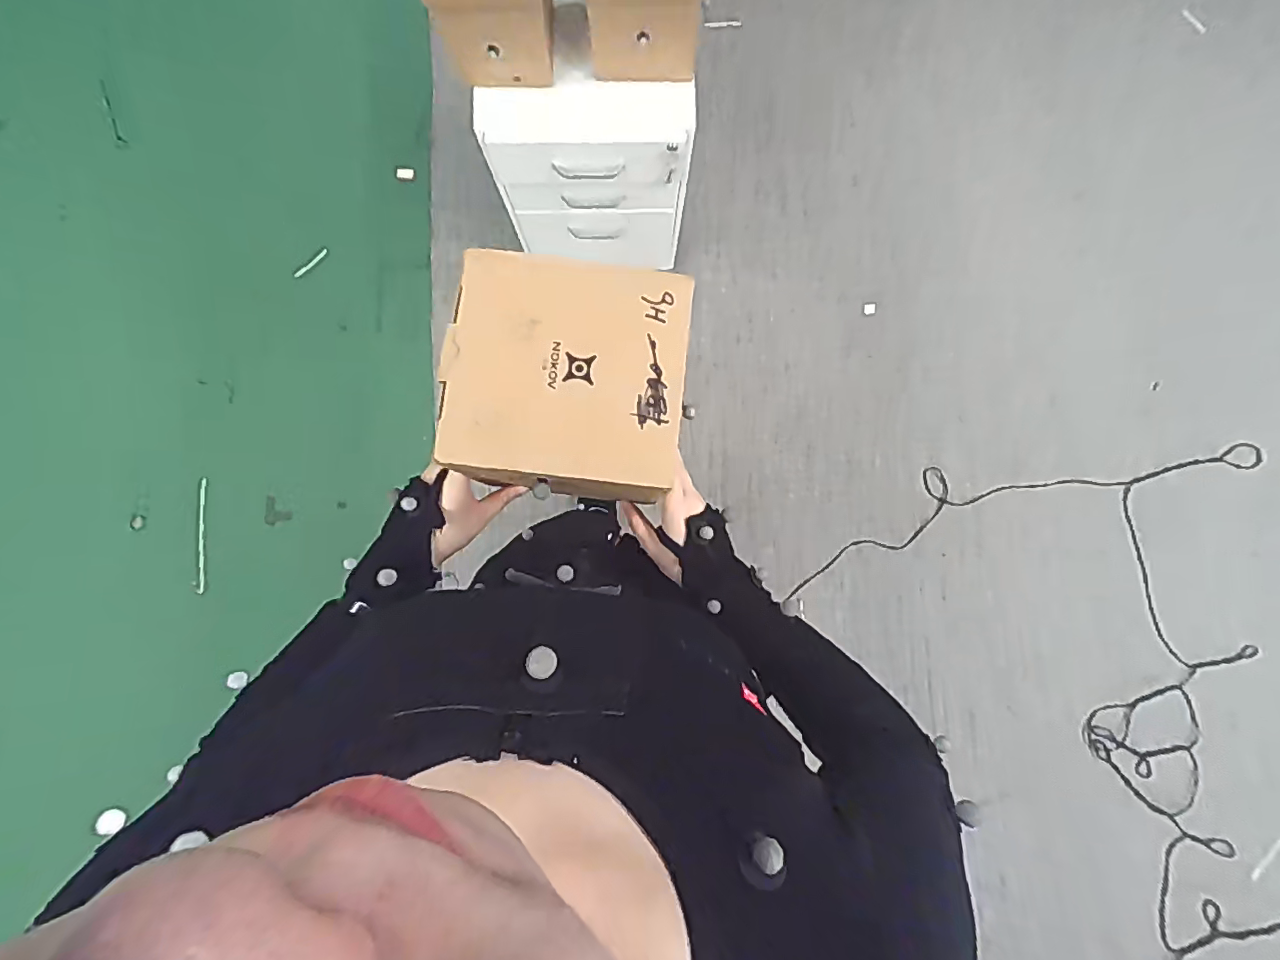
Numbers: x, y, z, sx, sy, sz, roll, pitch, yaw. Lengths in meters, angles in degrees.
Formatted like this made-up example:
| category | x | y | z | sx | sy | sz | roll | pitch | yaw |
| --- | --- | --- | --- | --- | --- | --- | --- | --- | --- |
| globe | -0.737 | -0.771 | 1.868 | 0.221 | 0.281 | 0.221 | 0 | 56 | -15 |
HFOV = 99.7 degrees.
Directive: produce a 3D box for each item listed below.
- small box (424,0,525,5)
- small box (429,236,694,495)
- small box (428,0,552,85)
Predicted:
| category | x | y | z | sx | sy | sz | roll | pitch | yaw |
| --- | --- | --- | --- | --- | --- | --- | --- | --- | --- |
| small box | -0.230 | -0.779 | 0.715 | 0.179 | 0.176 | 0.168 | -1 | 85 | -1 |
| small box | -0.059 | -0.082 | 0.475 | 0.179 | 0.176 | 0.168 | 7 | 83 | -3 |
| small box | -0.235 | -0.784 | 0.878 | 0.168 | 0.176 | 0.179 | 0 | 86 | -3 |
